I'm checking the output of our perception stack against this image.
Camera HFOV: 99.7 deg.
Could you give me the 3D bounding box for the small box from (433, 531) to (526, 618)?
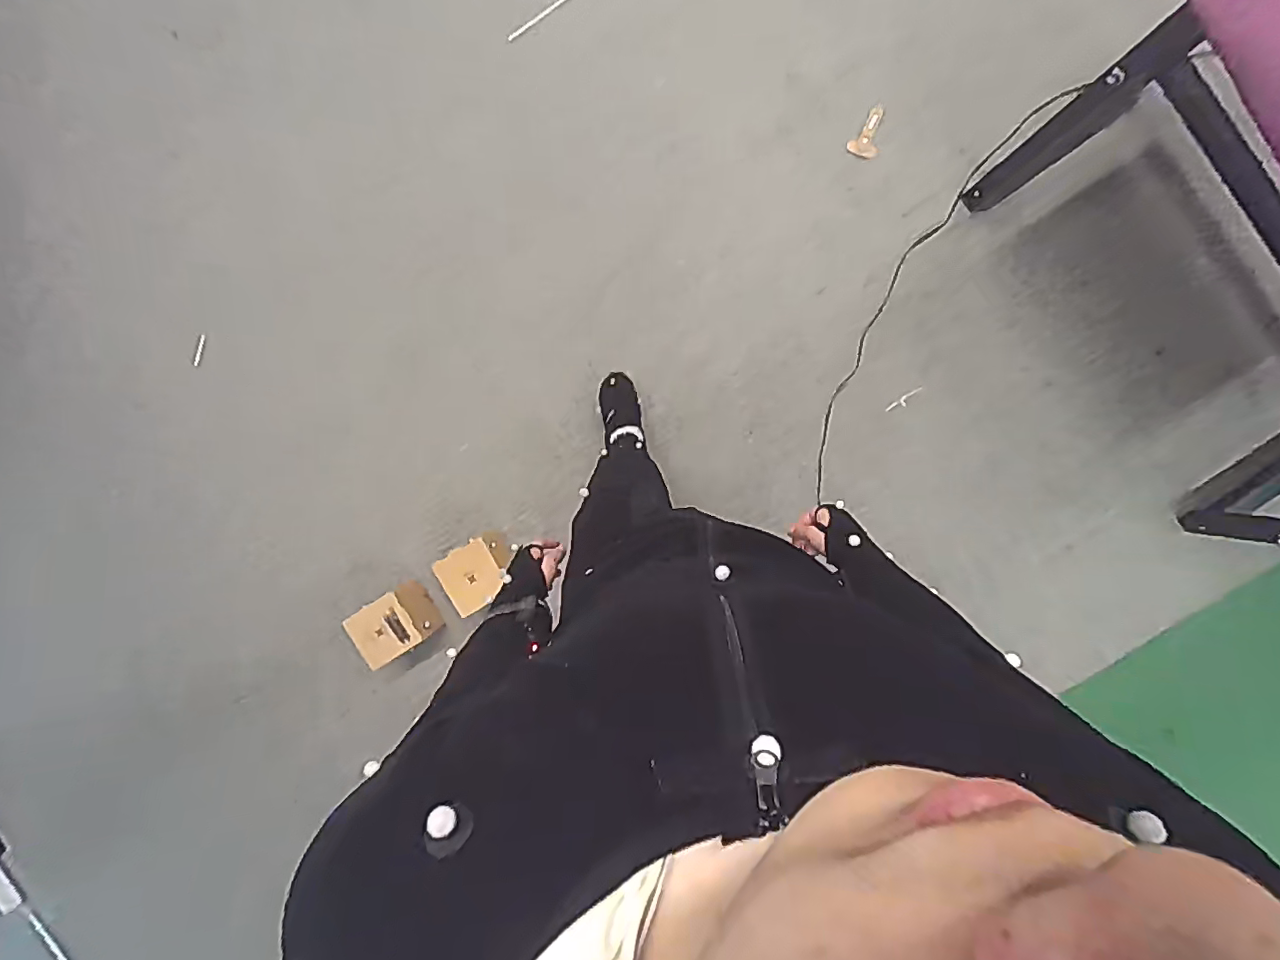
[{"bbox_3d":[-0.455,0.266,1.565,0.168,0.176,0.179,-30,90,3],"label":"small box"}]
